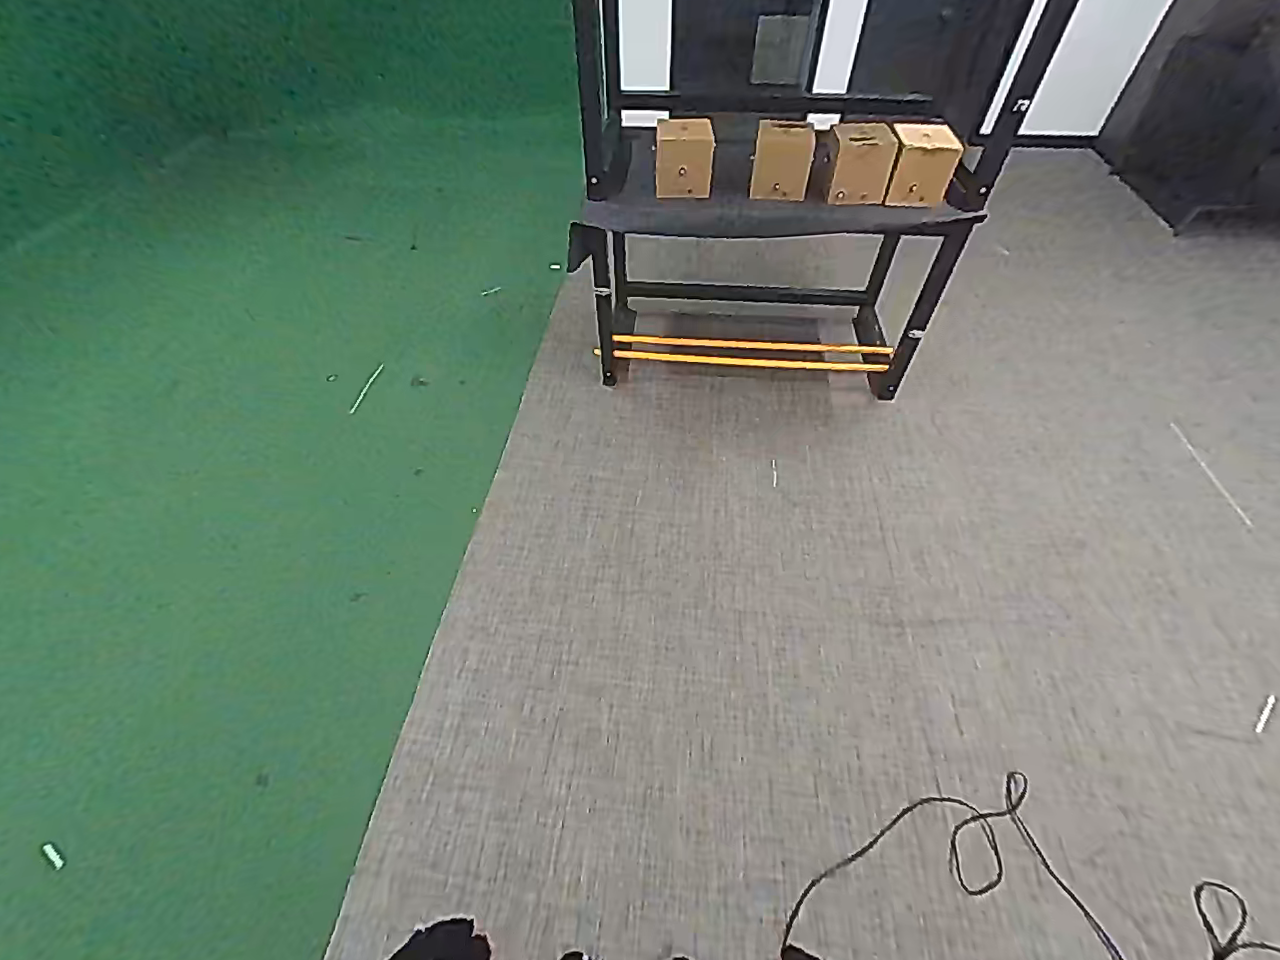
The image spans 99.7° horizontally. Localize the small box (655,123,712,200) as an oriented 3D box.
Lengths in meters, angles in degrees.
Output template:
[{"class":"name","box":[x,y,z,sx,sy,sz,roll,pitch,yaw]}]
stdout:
[{"class":"small box","box":[0.134,-0.992,1.687,0.168,0.176,0.179,0,49,0]}]
